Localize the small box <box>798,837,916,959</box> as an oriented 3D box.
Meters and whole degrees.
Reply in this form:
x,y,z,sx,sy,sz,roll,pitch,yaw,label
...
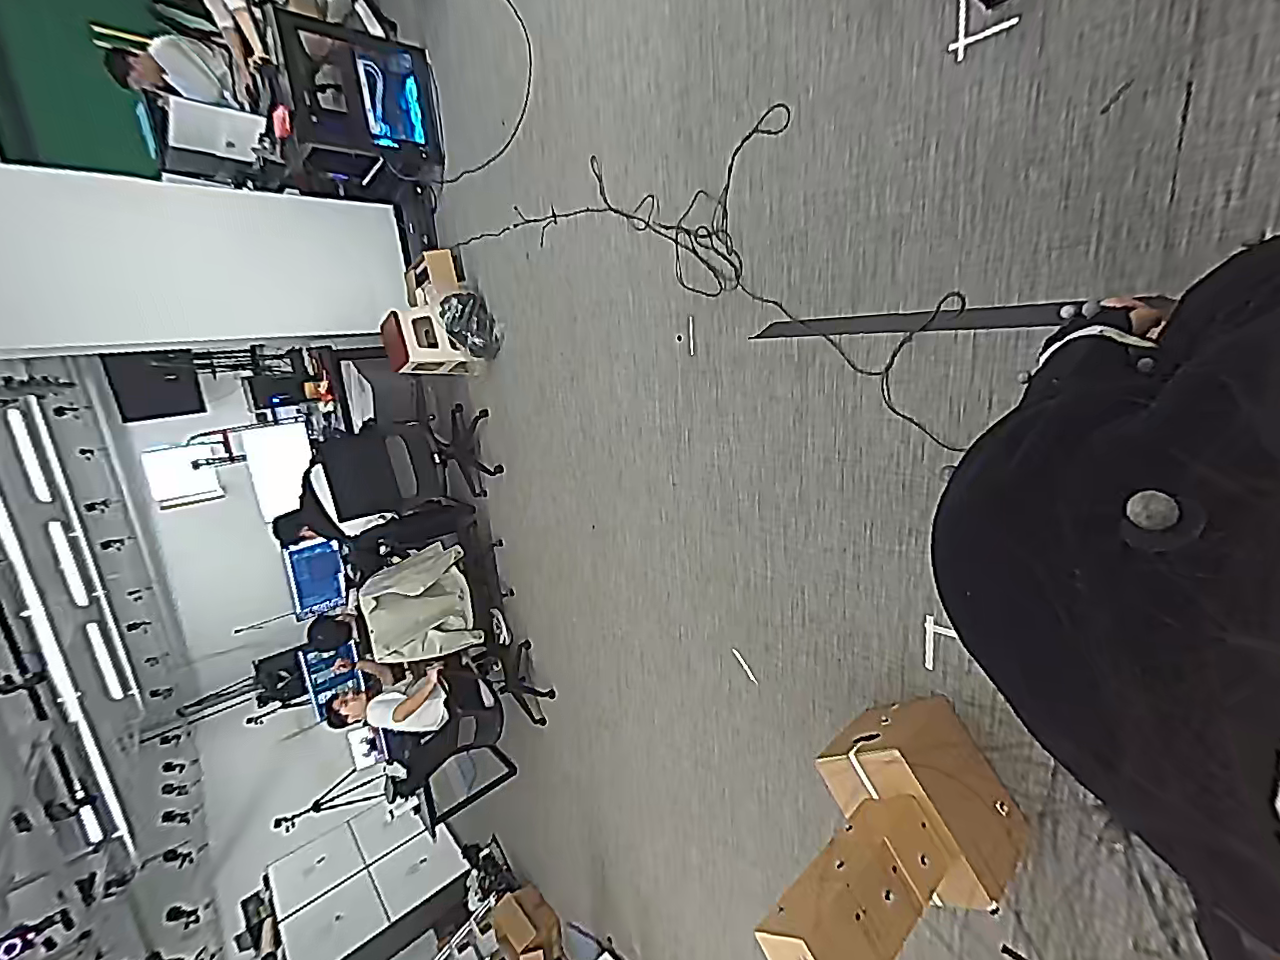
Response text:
x,y,z,sx,sy,sz,roll,pitch,yaw,label
0.520,0.976,1.278,0.168,0.176,0.179,61,140,16,small box

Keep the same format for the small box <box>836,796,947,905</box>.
x,y,z,sx,sy,sz,roll,pitch,yaw,label
0.645,0.932,1.374,0.168,0.176,0.179,60,140,16,small box
